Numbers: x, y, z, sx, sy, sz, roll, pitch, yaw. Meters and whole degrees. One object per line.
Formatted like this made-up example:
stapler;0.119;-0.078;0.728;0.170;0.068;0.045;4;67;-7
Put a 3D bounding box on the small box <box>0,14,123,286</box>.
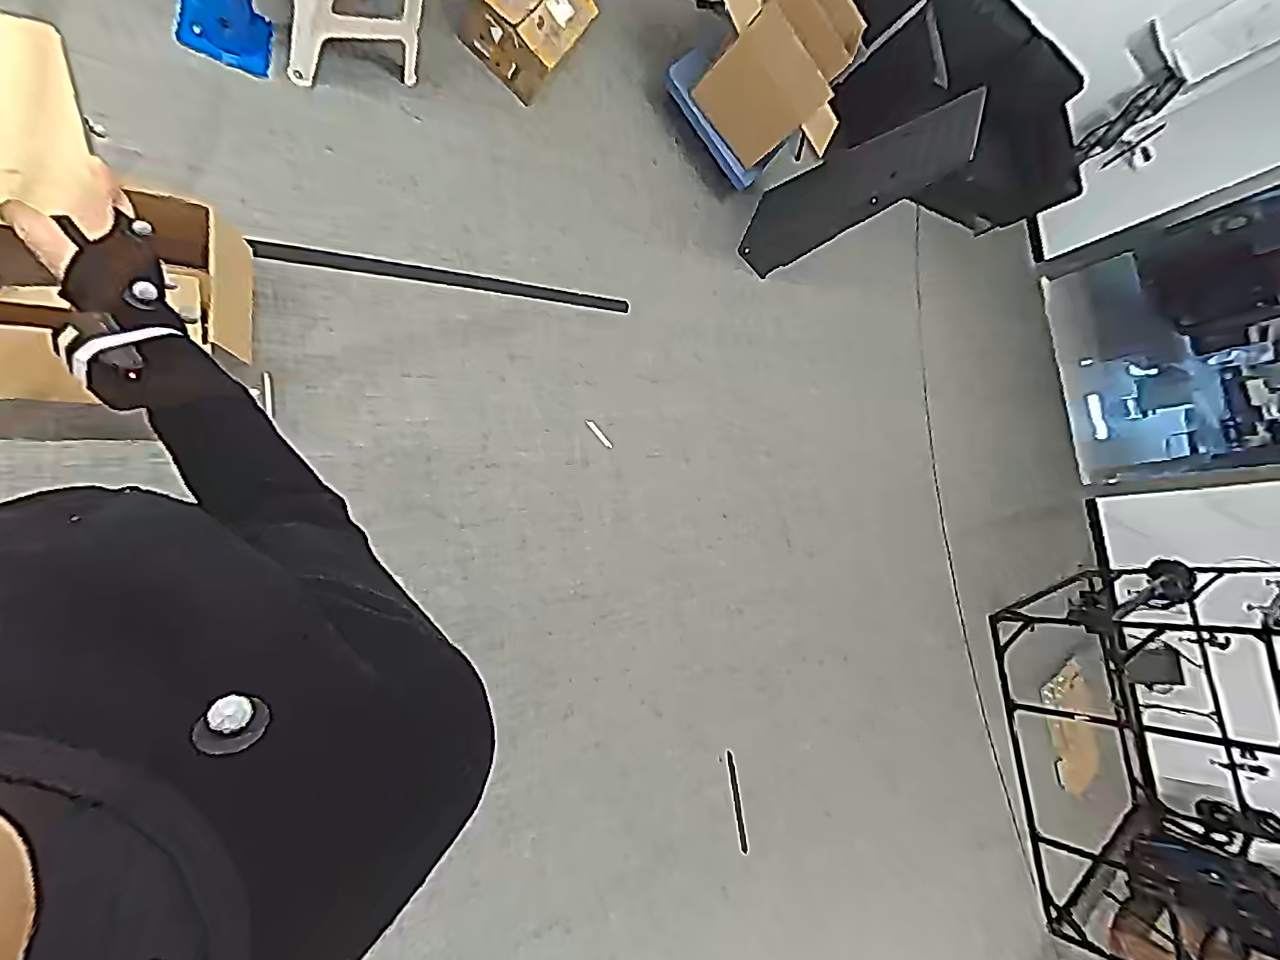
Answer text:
small box;-0.607;-0.294;0.492;0.168;0.176;0.179;-15;97;-39
